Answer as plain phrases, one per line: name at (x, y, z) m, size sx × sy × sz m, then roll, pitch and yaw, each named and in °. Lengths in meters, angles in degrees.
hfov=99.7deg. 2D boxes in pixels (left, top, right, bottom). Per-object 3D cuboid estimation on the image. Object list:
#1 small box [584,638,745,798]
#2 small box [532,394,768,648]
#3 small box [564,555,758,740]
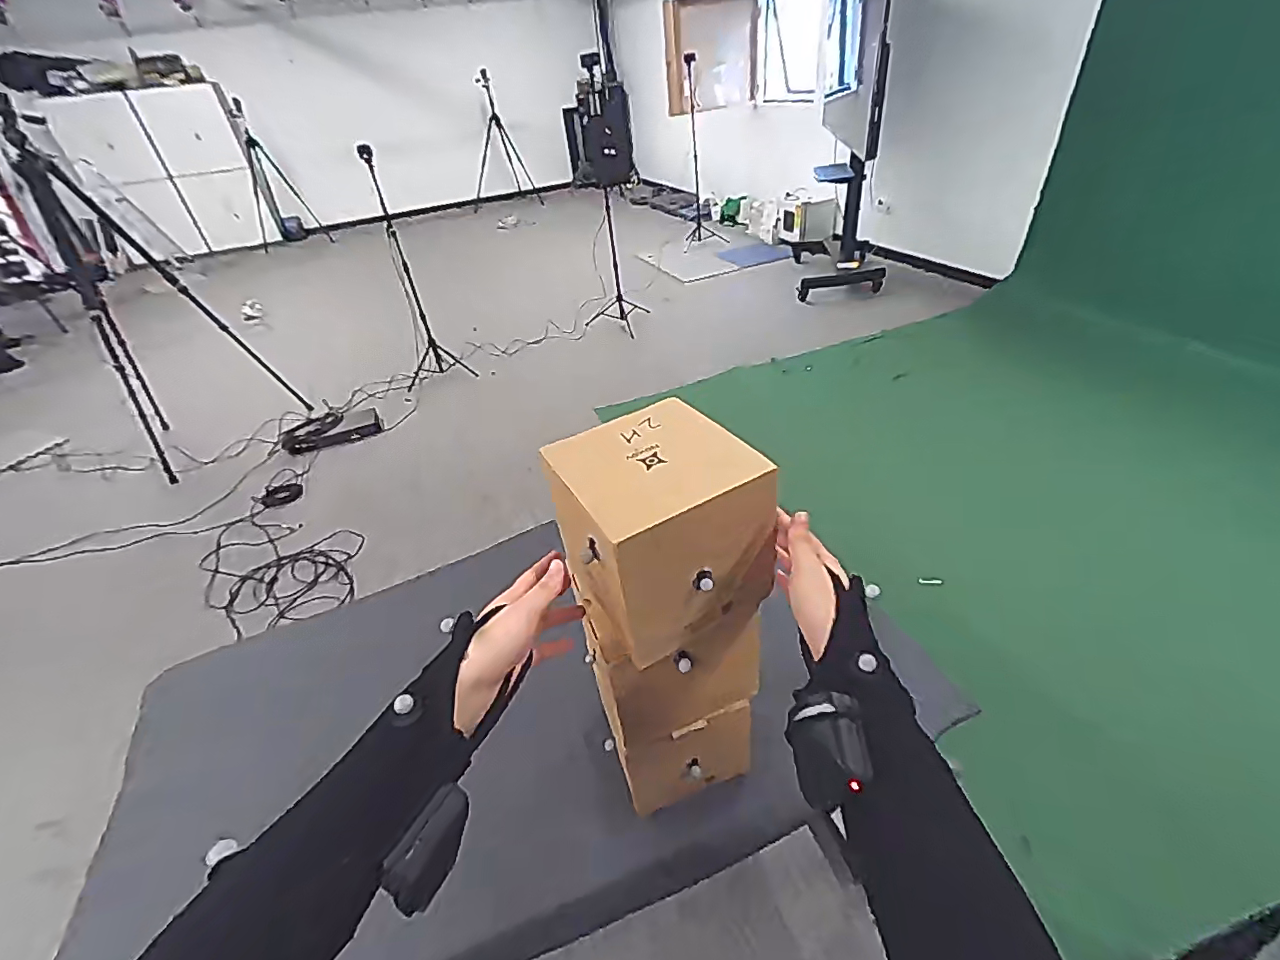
small box at (0.036, 0.304, 0.745) m, size 0.168 × 0.176 × 0.179 m, roll -18°, pitch 38°, yaw -11°
small box at (0.014, 0.042, 0.547) m, size 0.168 × 0.176 × 0.179 m, roll -24°, pitch 38°, yaw -19°
small box at (0.025, 0.171, 0.650) m, size 0.179 × 0.176 × 0.168 m, roll -19°, pitch 37°, yaw -12°
